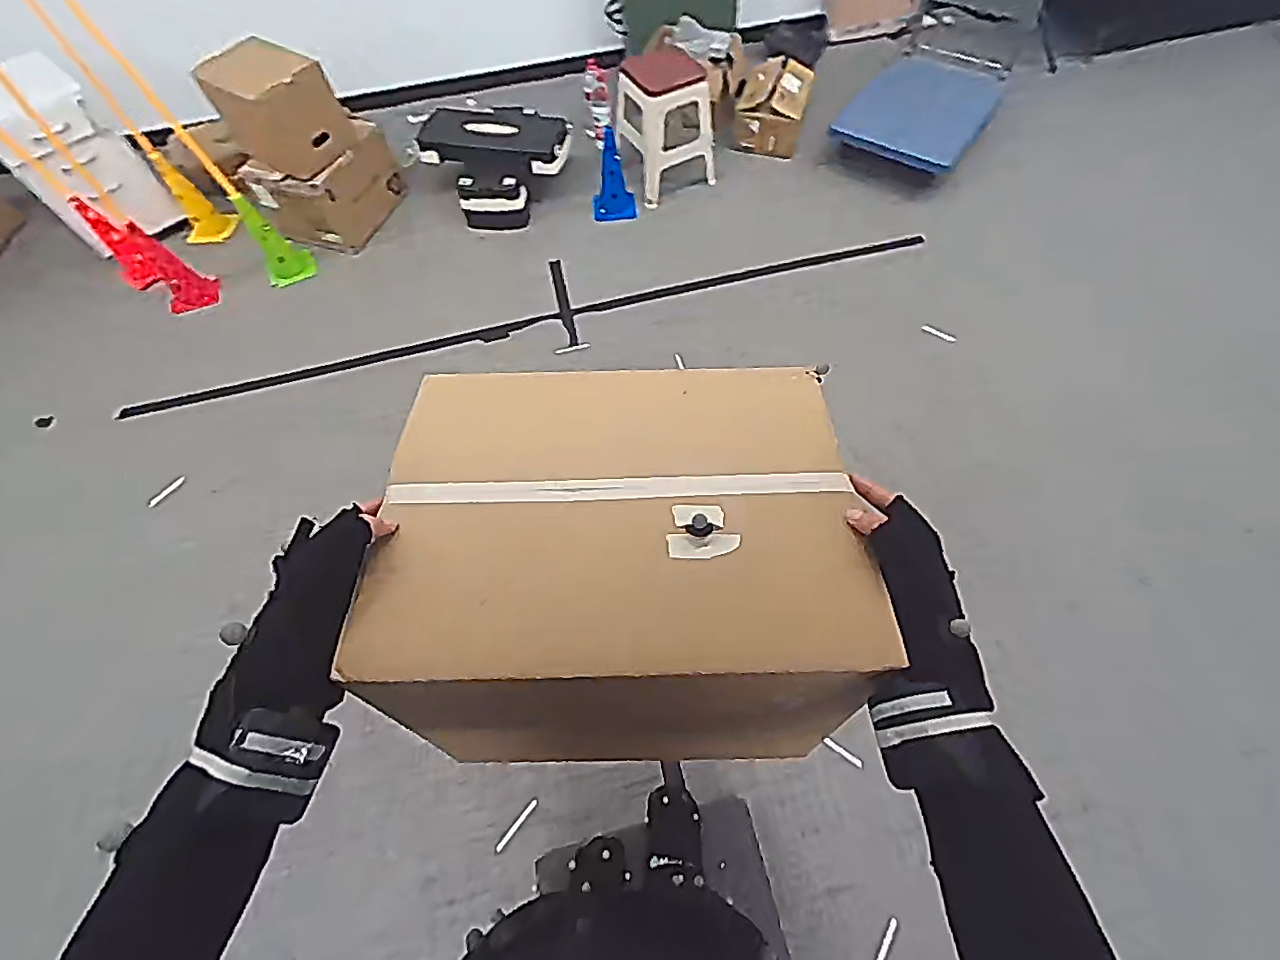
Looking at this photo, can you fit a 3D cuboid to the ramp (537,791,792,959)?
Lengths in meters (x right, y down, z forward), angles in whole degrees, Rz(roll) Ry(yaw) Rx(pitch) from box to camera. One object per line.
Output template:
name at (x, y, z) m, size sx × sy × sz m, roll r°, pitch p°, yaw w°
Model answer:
ramp at (0.132, 1.225, 1.069) m, size 0.509 × 0.206 × 0.991 m, roll -15°, pitch 62°, yaw -6°

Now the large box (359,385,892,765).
large box at (-0.013, 0.114, 0.603) m, size 0.408 × 0.320 × 0.320 m, roll -1°, pitch 53°, yaw 0°
